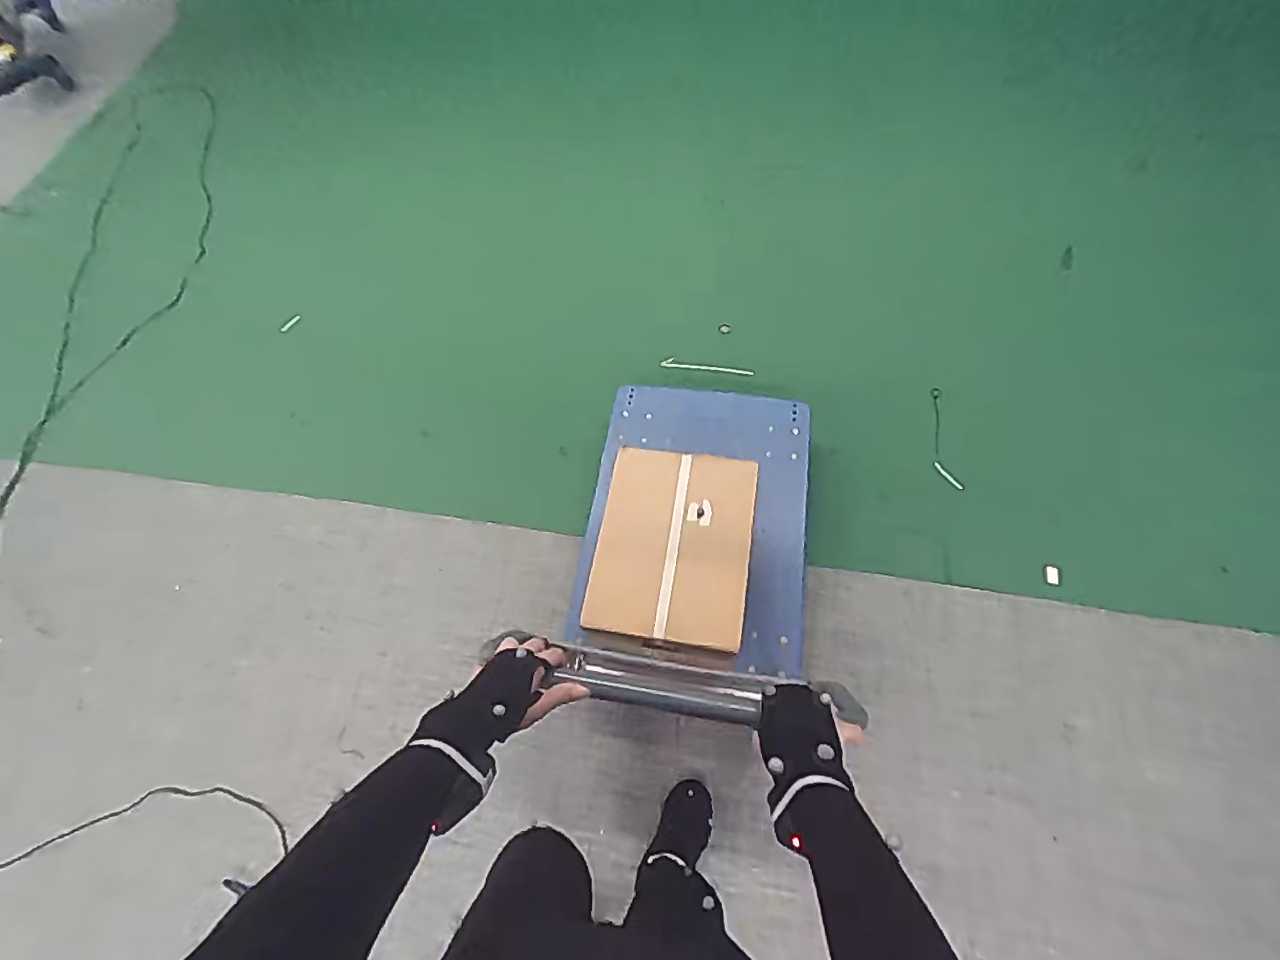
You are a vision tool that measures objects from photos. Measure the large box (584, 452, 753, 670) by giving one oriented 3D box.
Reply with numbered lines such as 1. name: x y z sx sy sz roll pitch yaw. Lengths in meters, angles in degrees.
1. large box: 0.080 0.196 1.253 0.320 0.320 0.408 7 64 8
